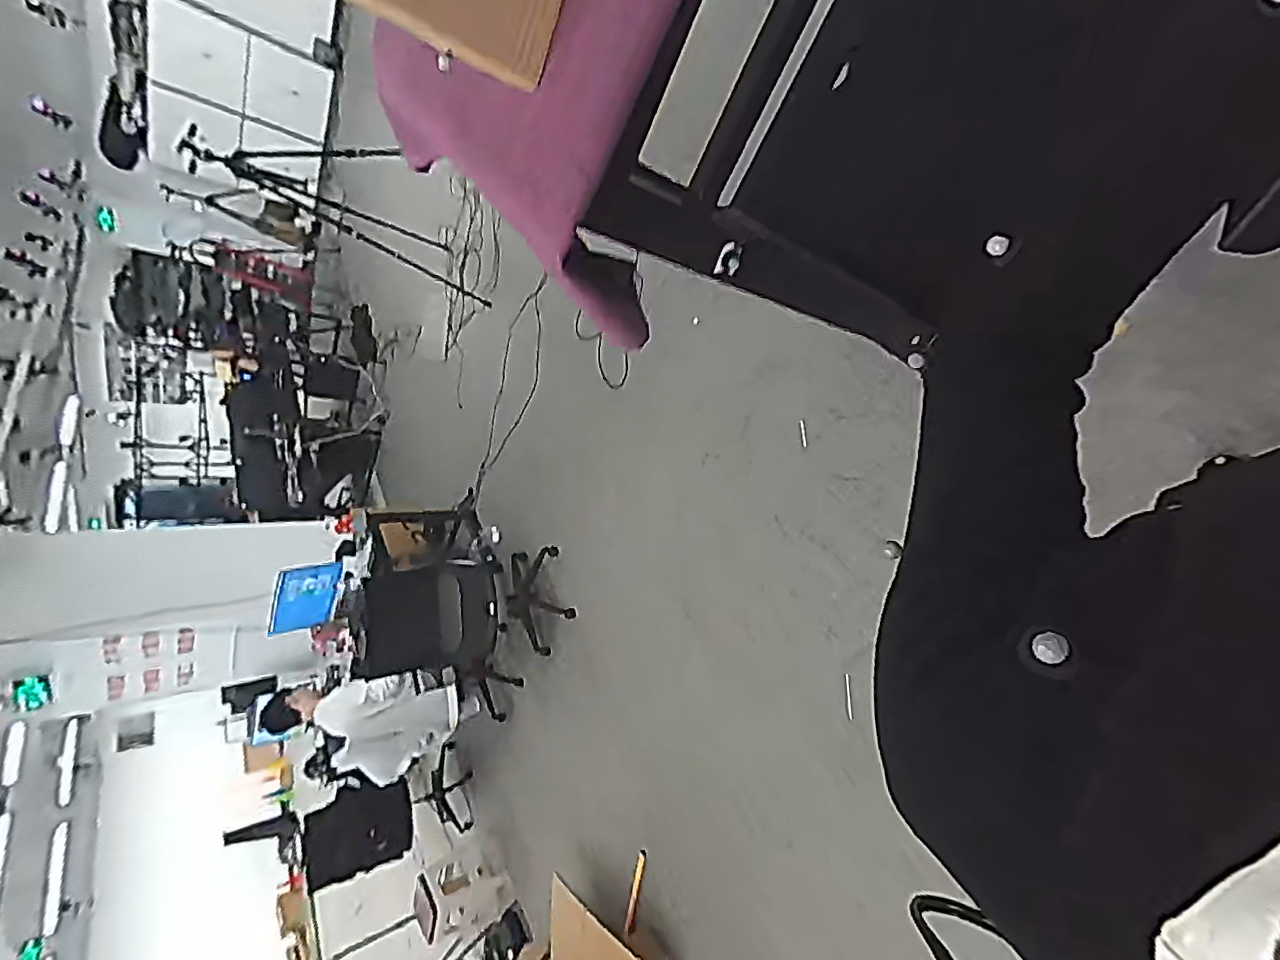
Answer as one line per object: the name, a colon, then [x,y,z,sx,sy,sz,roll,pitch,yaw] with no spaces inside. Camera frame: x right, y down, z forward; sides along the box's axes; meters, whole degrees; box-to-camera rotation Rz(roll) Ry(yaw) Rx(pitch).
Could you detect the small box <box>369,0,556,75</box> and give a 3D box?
small box: [-0.148,-0.429,0.382,0.168,0.176,0.179,49,123,37]
